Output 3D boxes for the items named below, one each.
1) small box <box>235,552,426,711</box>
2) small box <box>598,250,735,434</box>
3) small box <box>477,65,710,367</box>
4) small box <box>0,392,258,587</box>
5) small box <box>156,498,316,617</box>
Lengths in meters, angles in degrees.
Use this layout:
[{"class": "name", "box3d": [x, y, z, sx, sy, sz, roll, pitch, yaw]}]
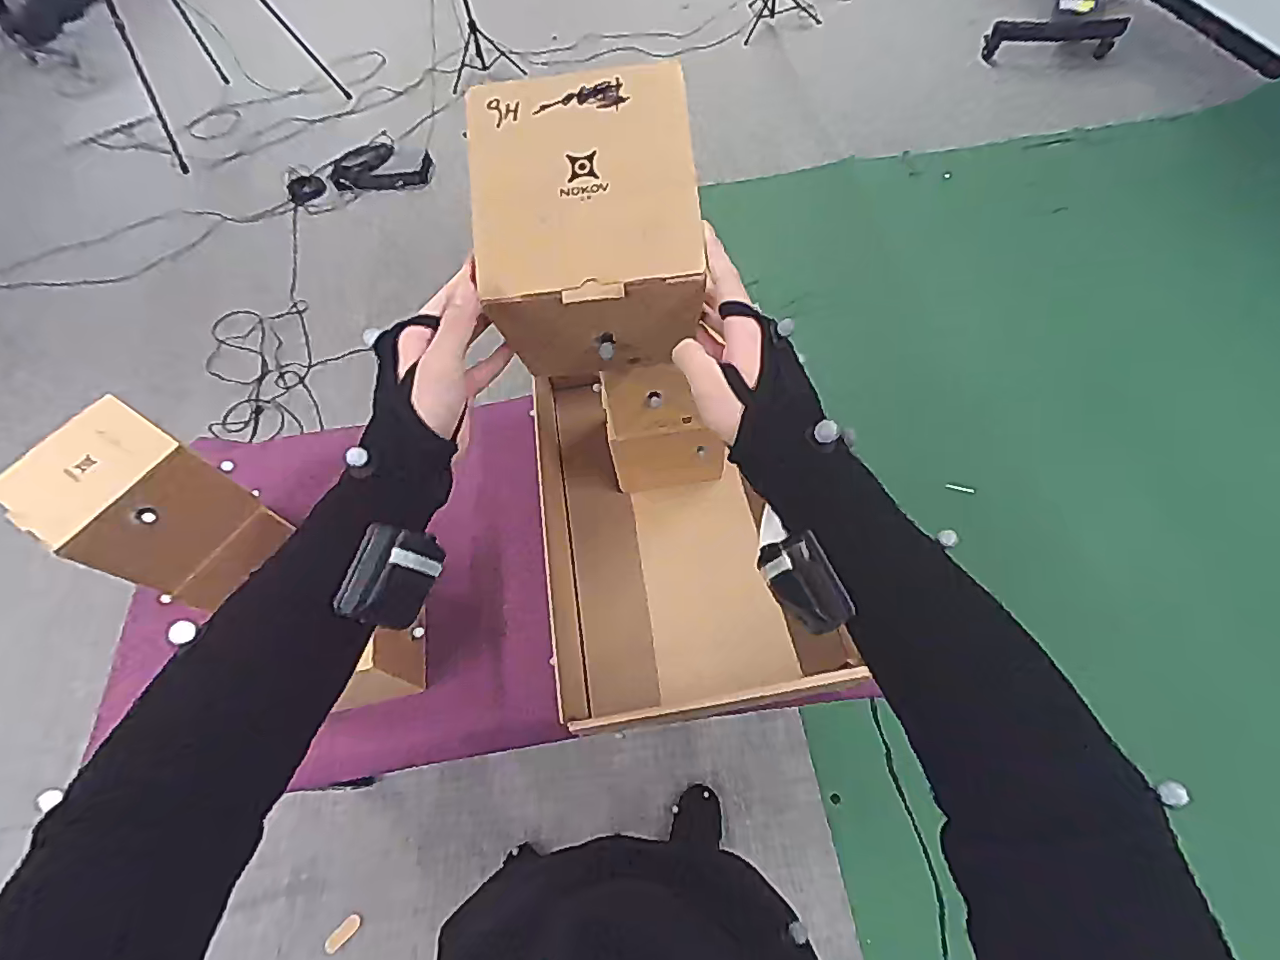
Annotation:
[{"class": "small box", "box3d": [-0.436, 0.228, 0.792, 0.179, 0.176, 0.168, -12, 60, -3]}, {"class": "small box", "box3d": [0.030, -0.176, 0.736, 0.168, 0.176, 0.179, -9, 61, 1]}, {"class": "small box", "box3d": [-0.032, -0.207, 0.475, 0.168, 0.176, 0.179, -5, 83, 1]}, {"class": "small box", "box3d": [-0.687, 0.020, 0.741, 0.168, 0.176, 0.179, 29, 67, 17]}, {"class": "small box", "box3d": [-0.681, 0.103, 0.881, 0.179, 0.176, 0.168, 28, 66, 18]}]
